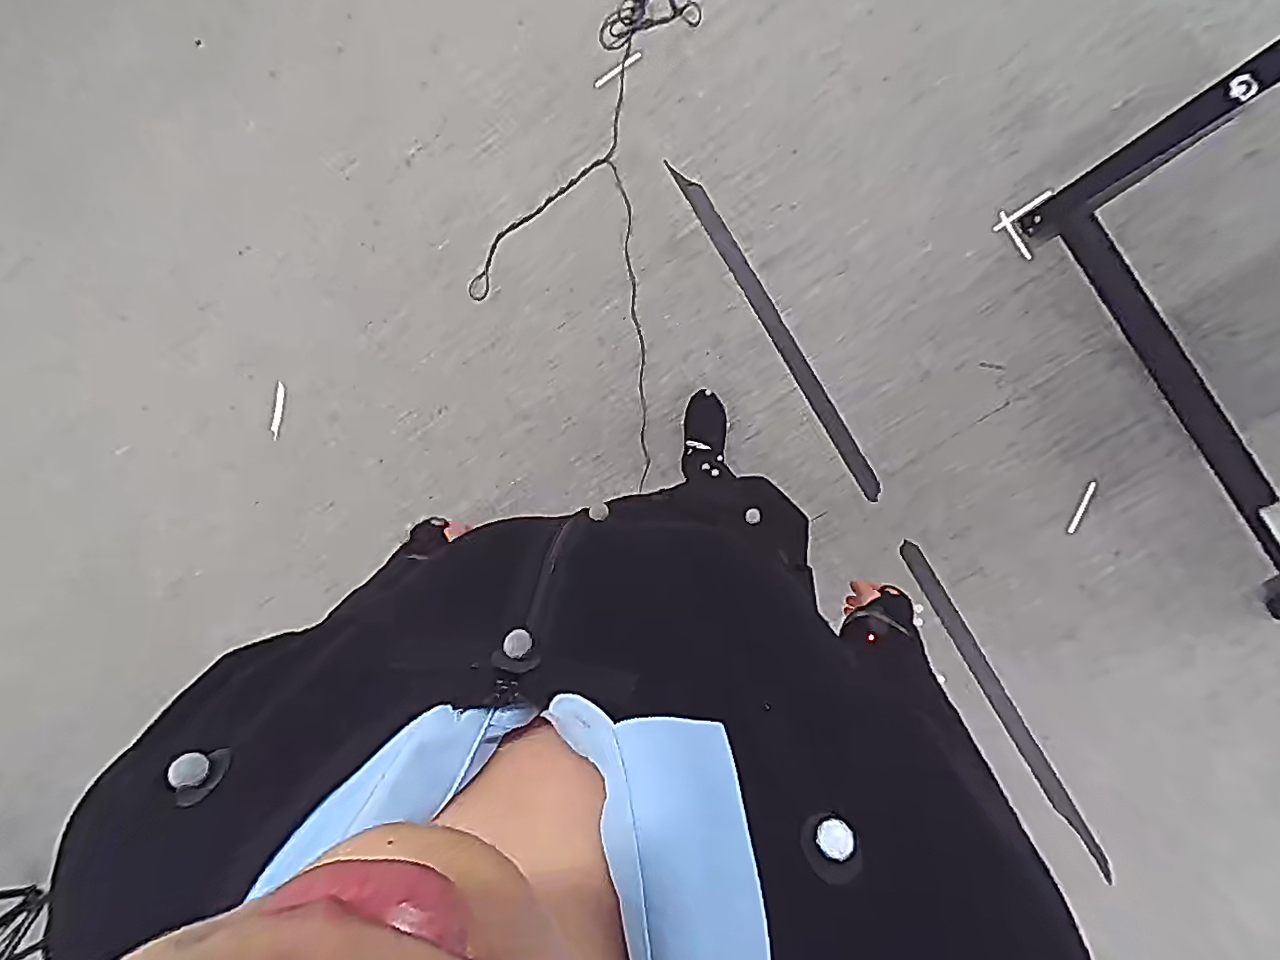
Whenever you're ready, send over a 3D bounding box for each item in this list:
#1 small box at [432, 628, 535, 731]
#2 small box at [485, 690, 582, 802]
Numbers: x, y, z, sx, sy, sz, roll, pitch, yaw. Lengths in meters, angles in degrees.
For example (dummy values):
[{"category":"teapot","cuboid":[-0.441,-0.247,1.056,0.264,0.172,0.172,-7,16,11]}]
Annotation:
[{"category":"small box","cuboid":[-0.405,0.519,1.428,0.179,0.176,0.168,-28,92,6]},{"category":"small box","cuboid":[-0.269,0.691,1.426,0.179,0.176,0.168,-35,89,7]}]
